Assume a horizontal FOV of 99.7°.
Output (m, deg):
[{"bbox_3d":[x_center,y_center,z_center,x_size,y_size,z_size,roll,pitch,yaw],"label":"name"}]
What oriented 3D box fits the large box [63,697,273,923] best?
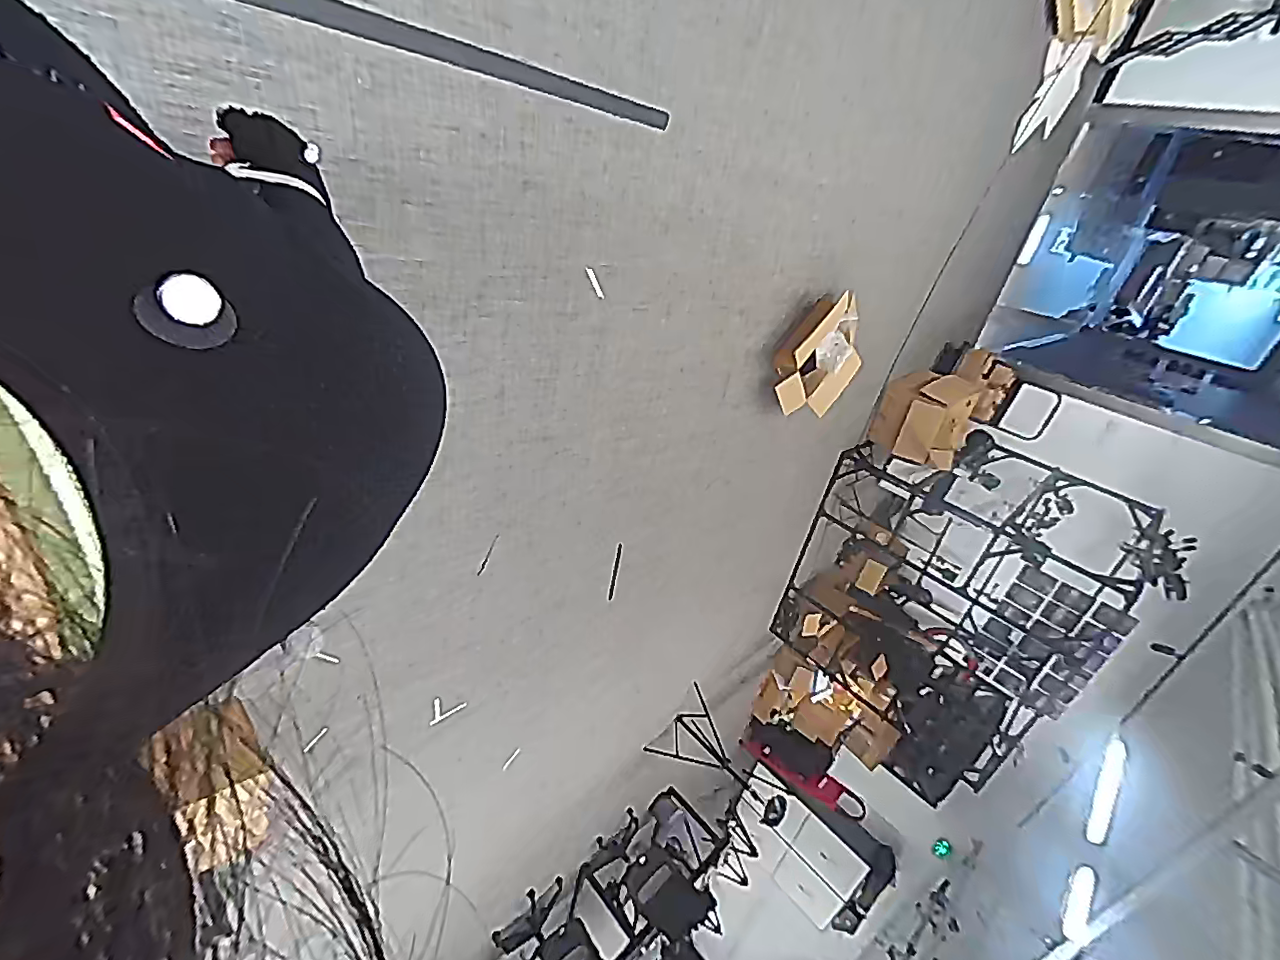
[{"bbox_3d":[-1.323,0.903,1.540,0.408,0.320,0.320,-10,125,-47],"label":"large box"}]
